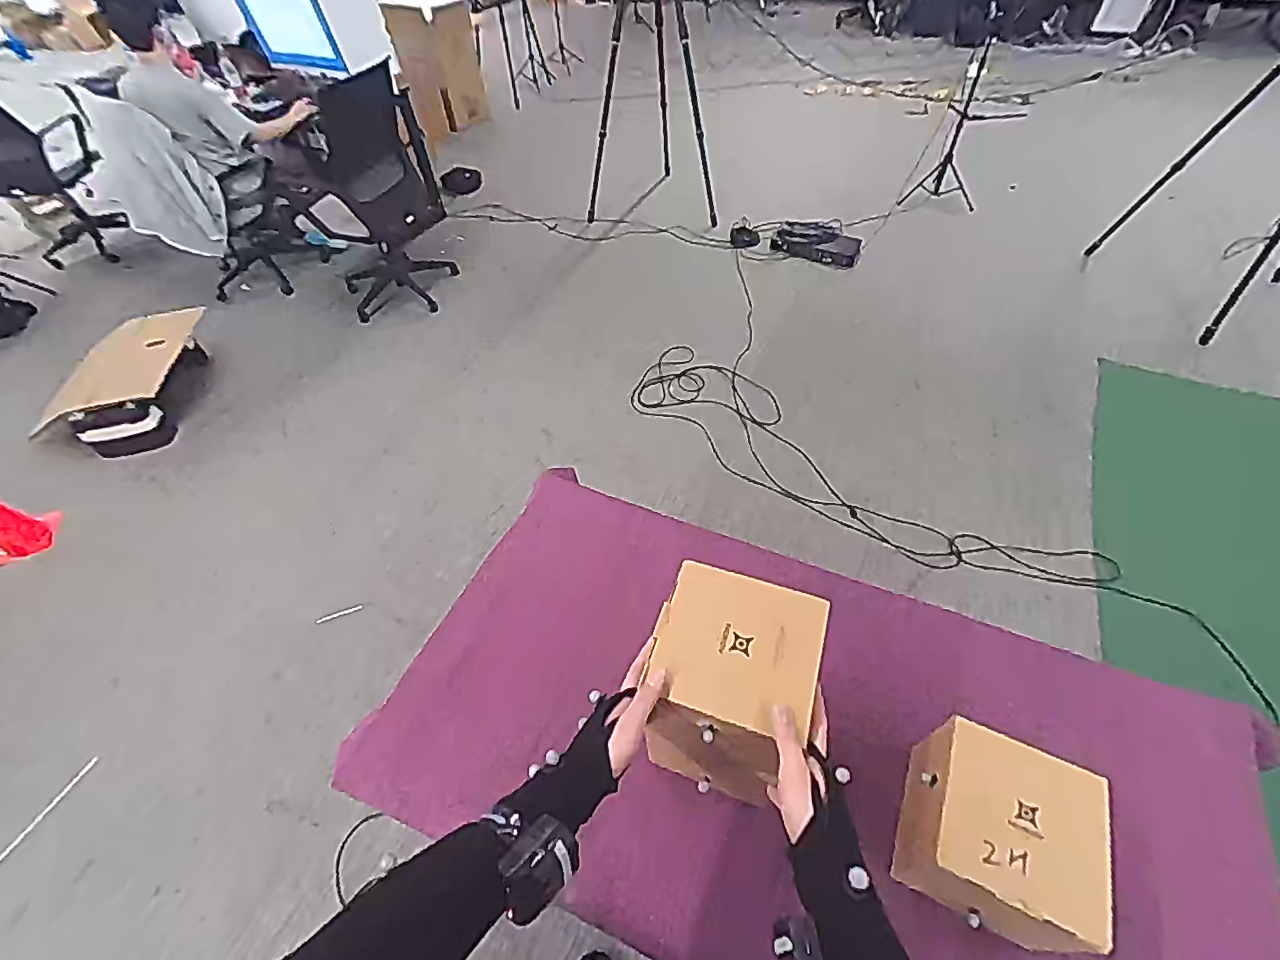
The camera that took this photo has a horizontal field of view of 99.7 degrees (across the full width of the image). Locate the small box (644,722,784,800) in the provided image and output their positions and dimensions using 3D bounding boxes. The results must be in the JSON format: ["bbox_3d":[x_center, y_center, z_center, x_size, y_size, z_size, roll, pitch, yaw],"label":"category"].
[{"bbox_3d":[0.117,0.333,0.771,0.179,0.176,0.168,15,53,15],"label":"small box"}]

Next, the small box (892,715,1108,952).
[{"bbox_3d":[0.431,0.431,0.667,0.168,0.176,0.179,20,55,20],"label":"small box"}]

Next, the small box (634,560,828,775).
[{"bbox_3d":[0.107,0.227,0.646,0.179,0.176,0.168,15,54,16],"label":"small box"}]
